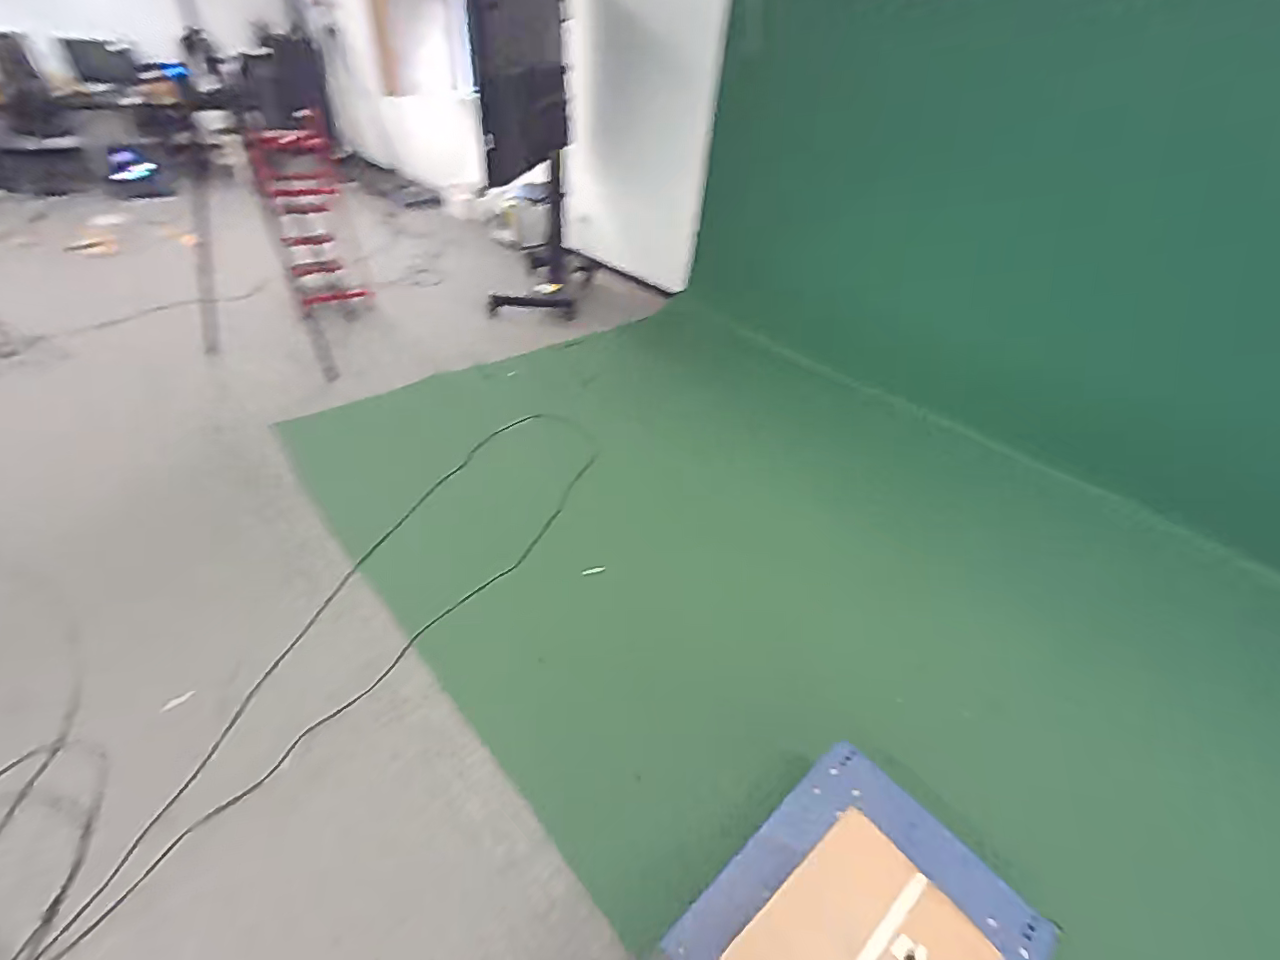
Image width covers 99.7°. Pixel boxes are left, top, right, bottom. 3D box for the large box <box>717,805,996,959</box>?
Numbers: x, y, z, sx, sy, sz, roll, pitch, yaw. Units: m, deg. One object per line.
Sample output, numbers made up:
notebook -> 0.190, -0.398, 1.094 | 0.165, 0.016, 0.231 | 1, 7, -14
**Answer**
large box -> 0.358, 0.927, 1.006 | 0.408, 0.320, 0.320 | -23, 47, -32
